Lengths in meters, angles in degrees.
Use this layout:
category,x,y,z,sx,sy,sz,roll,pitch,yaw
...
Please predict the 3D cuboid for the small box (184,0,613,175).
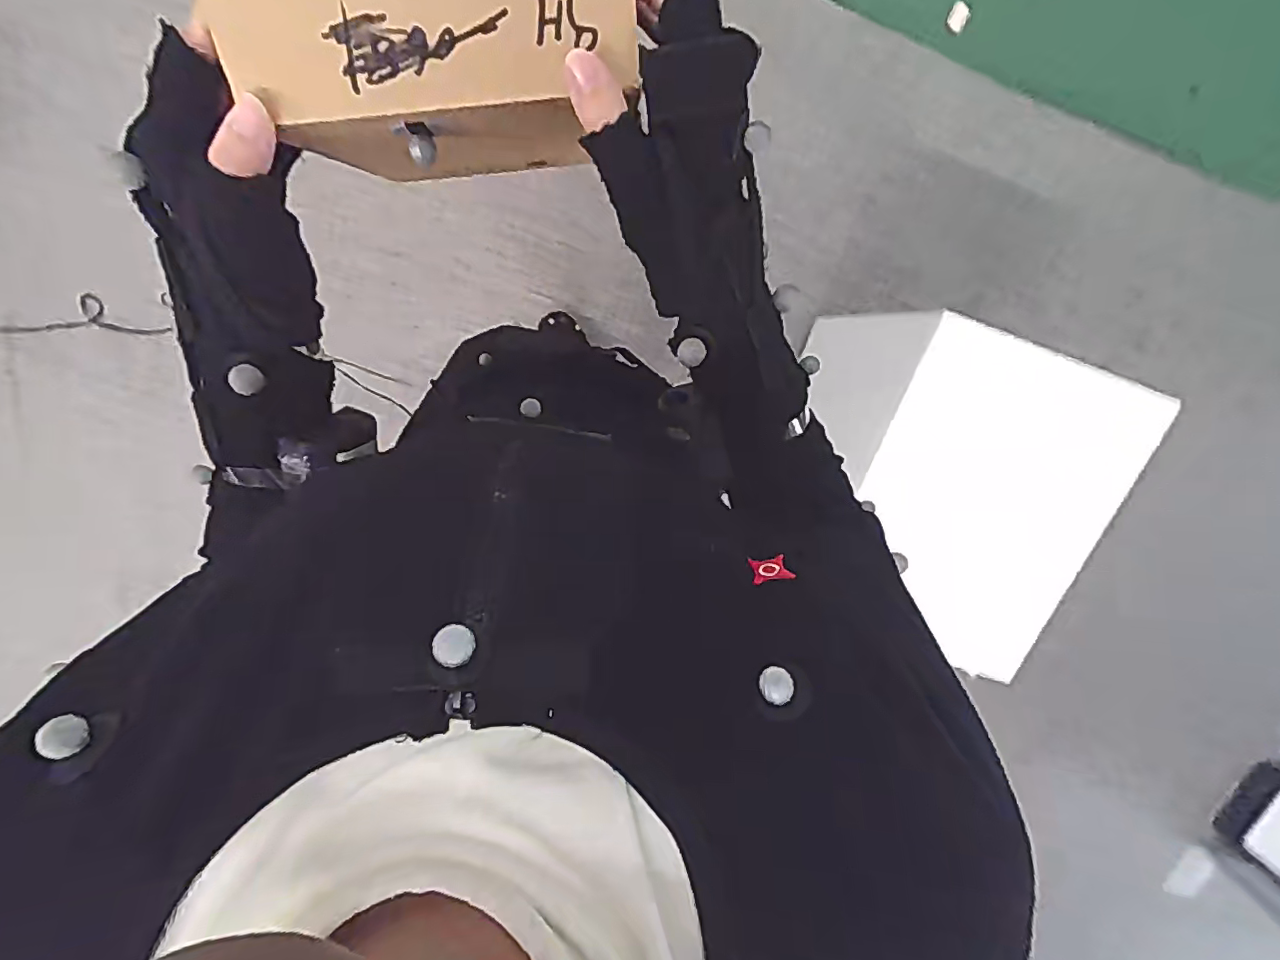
category,x,y,z,sx,sy,sz,roll,pitch,yaw
small box,-0.105,-0.269,0.269,0.168,0.176,0.179,-6,113,-1
